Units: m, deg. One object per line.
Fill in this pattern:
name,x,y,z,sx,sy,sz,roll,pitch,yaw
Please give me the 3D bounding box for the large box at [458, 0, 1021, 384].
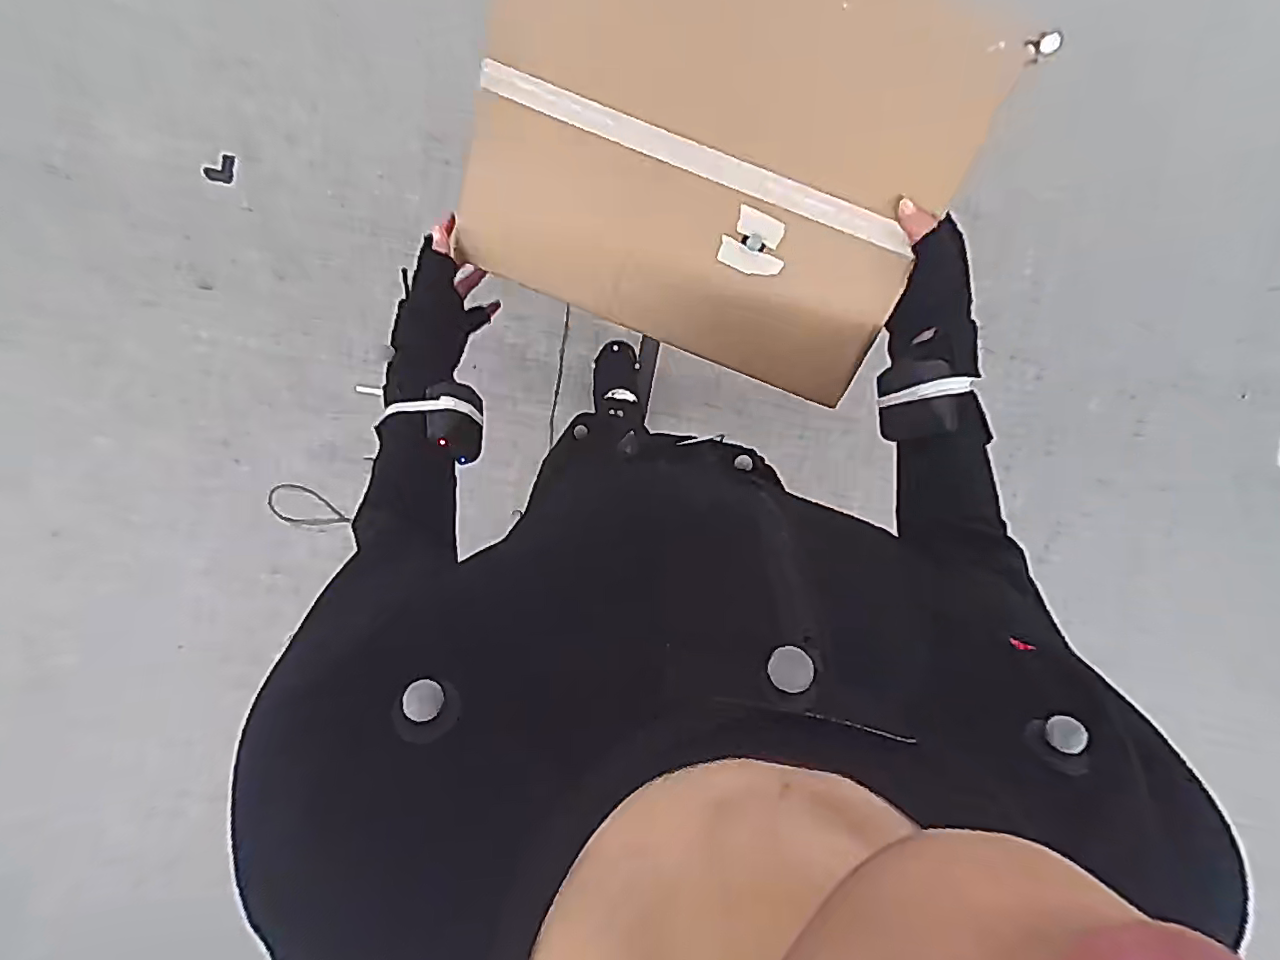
large box,0.070,-0.353,0.595,0.408,0.320,0.320,20,120,-2
